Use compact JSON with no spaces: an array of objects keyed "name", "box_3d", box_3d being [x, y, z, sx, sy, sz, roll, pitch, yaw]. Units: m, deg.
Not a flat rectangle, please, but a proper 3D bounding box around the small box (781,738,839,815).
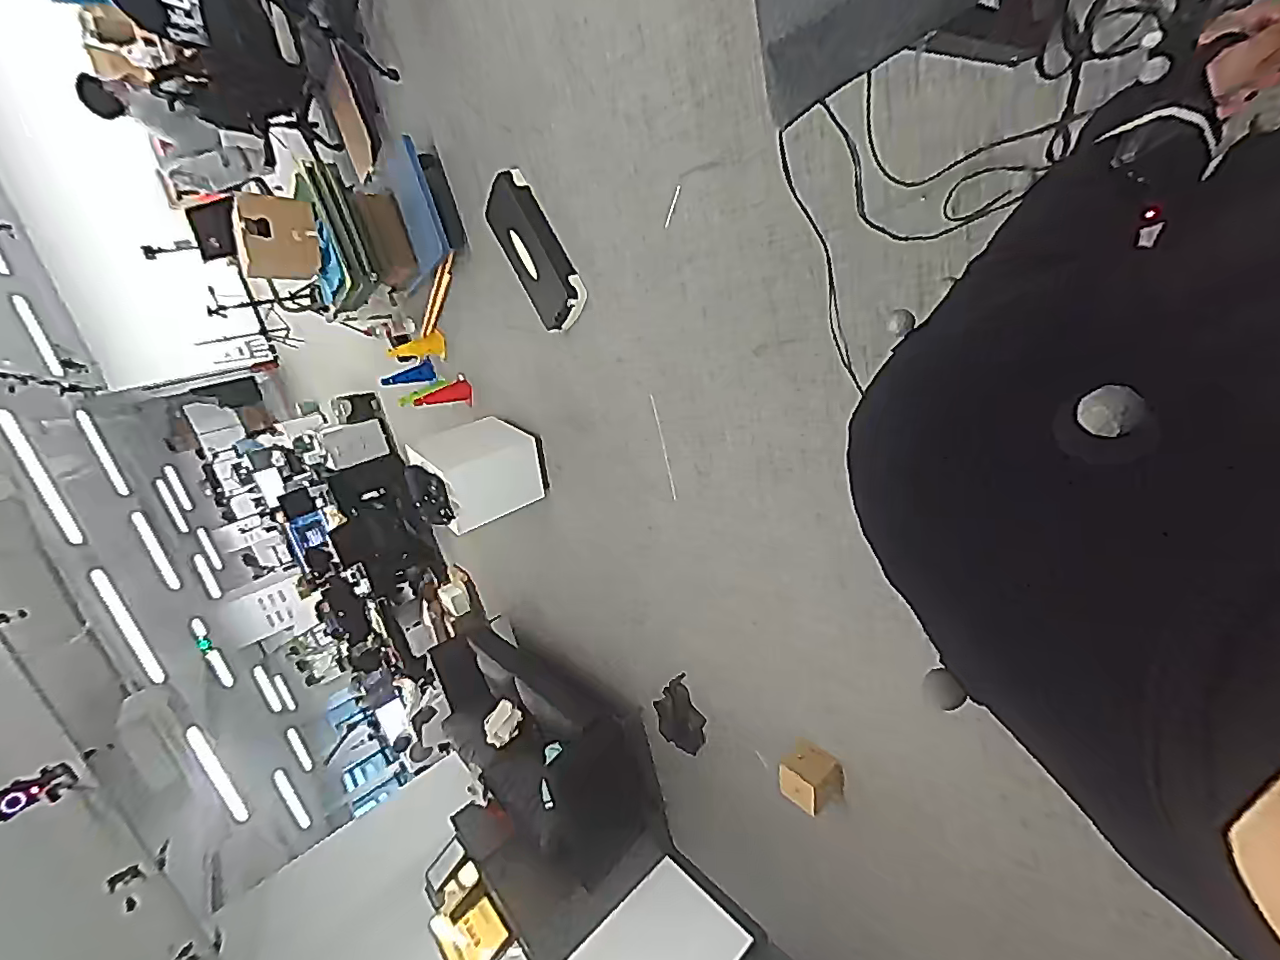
[{"name":"small box","box_3d":[0.692,1.196,2.196,0.168,0.176,0.179,19,127,49]}]
